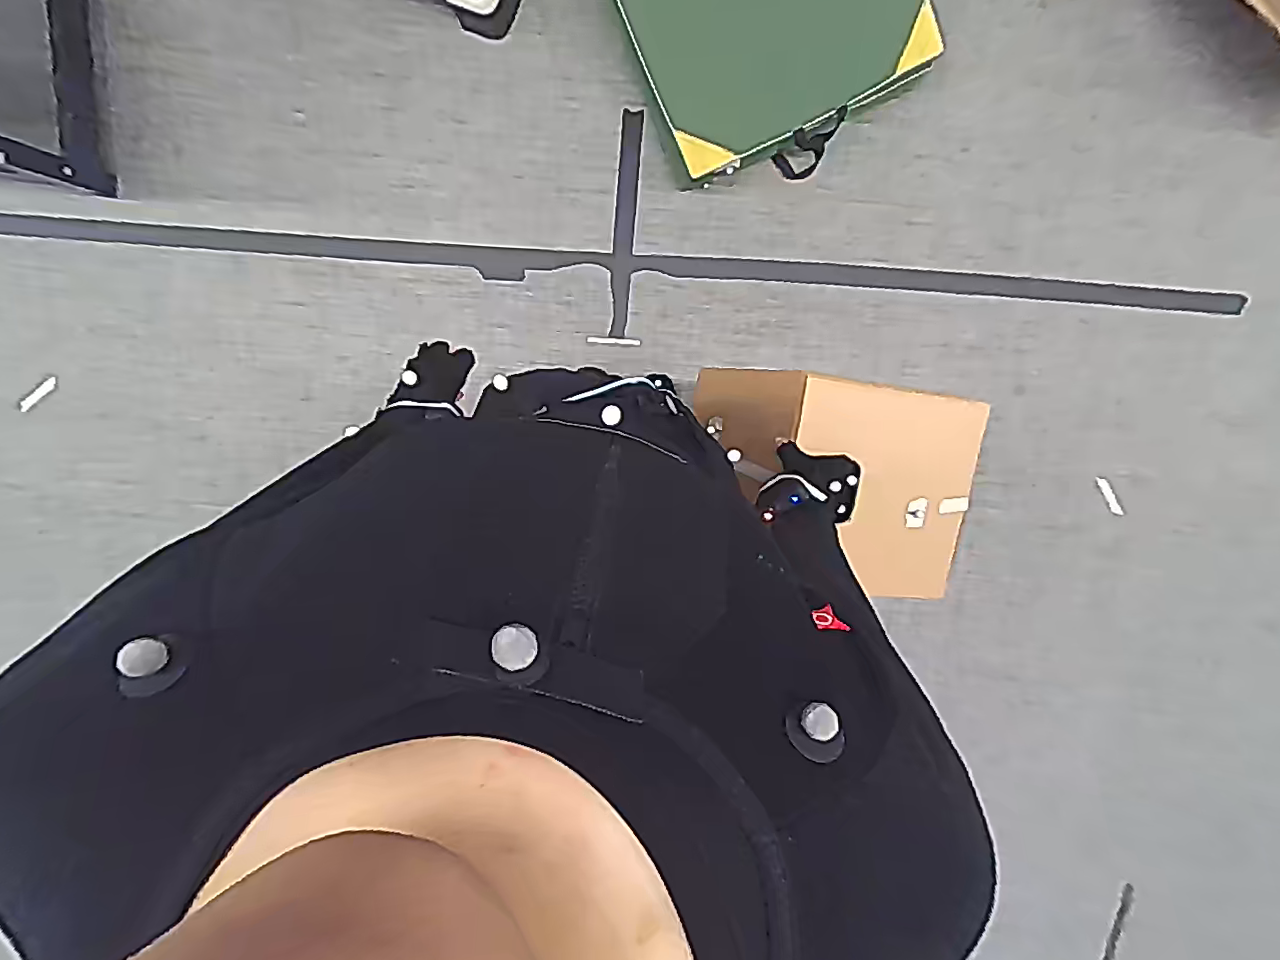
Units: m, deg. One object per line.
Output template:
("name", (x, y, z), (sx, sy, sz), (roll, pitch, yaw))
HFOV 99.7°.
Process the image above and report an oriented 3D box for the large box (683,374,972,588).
("large box", (0.300, -0.019, 0.985), (0.320, 0.408, 0.320), (6, 100, -14))
